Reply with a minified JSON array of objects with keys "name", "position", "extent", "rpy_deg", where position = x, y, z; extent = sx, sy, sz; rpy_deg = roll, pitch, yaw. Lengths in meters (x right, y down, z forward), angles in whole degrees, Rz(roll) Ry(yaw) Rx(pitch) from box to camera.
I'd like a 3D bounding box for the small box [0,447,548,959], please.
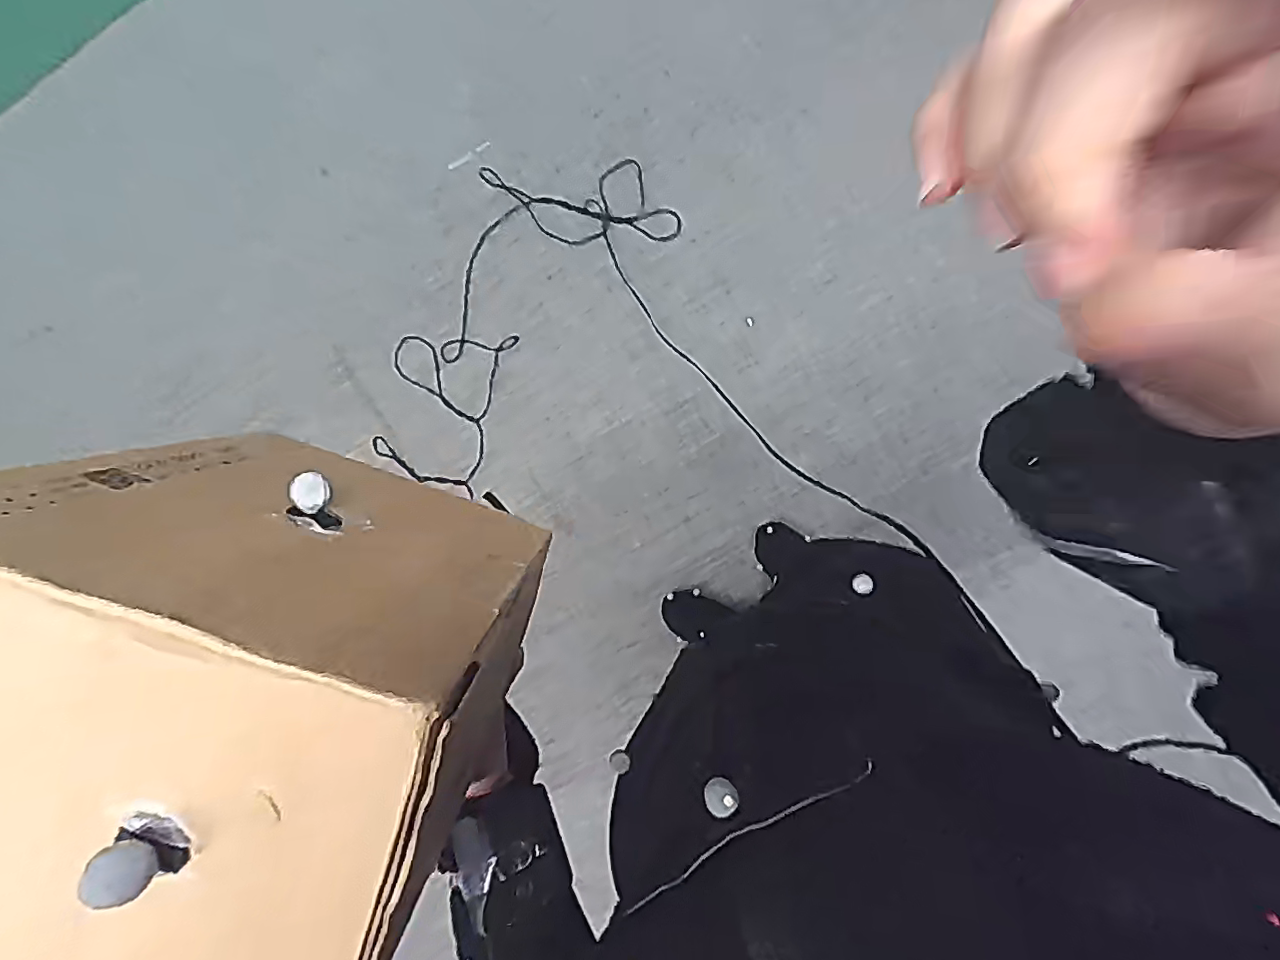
[{"name":"small box","position":[-0.157,0.093,0.243],"extent":[0.176,0.168,0.179],"rpy_deg":[19,102,-3]}]
